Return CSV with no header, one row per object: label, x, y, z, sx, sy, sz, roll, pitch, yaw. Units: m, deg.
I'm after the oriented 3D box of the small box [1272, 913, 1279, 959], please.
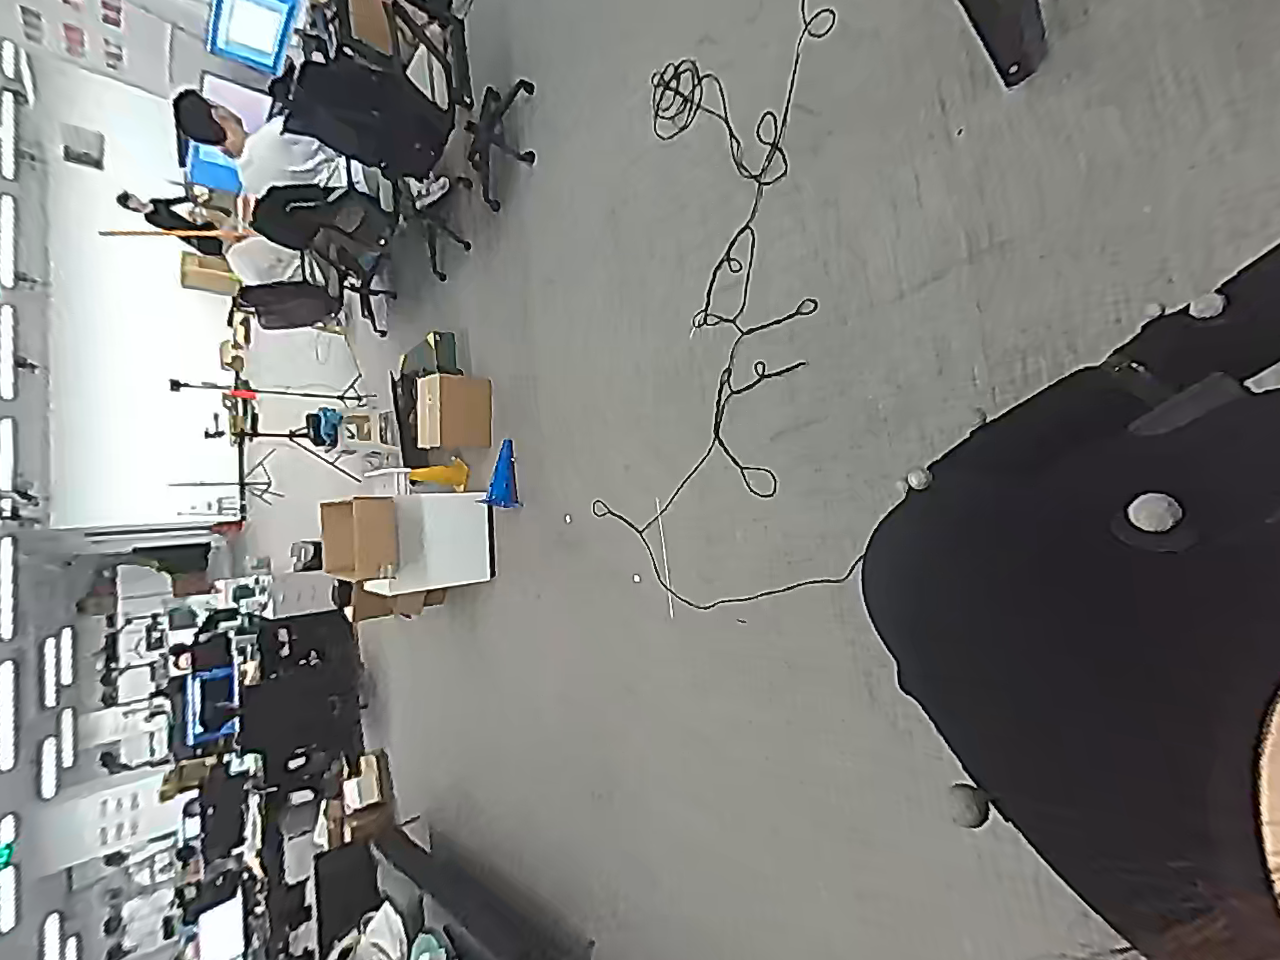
small box,1.072,0.813,0.803,0.168,0.176,0.179,0,91,47
